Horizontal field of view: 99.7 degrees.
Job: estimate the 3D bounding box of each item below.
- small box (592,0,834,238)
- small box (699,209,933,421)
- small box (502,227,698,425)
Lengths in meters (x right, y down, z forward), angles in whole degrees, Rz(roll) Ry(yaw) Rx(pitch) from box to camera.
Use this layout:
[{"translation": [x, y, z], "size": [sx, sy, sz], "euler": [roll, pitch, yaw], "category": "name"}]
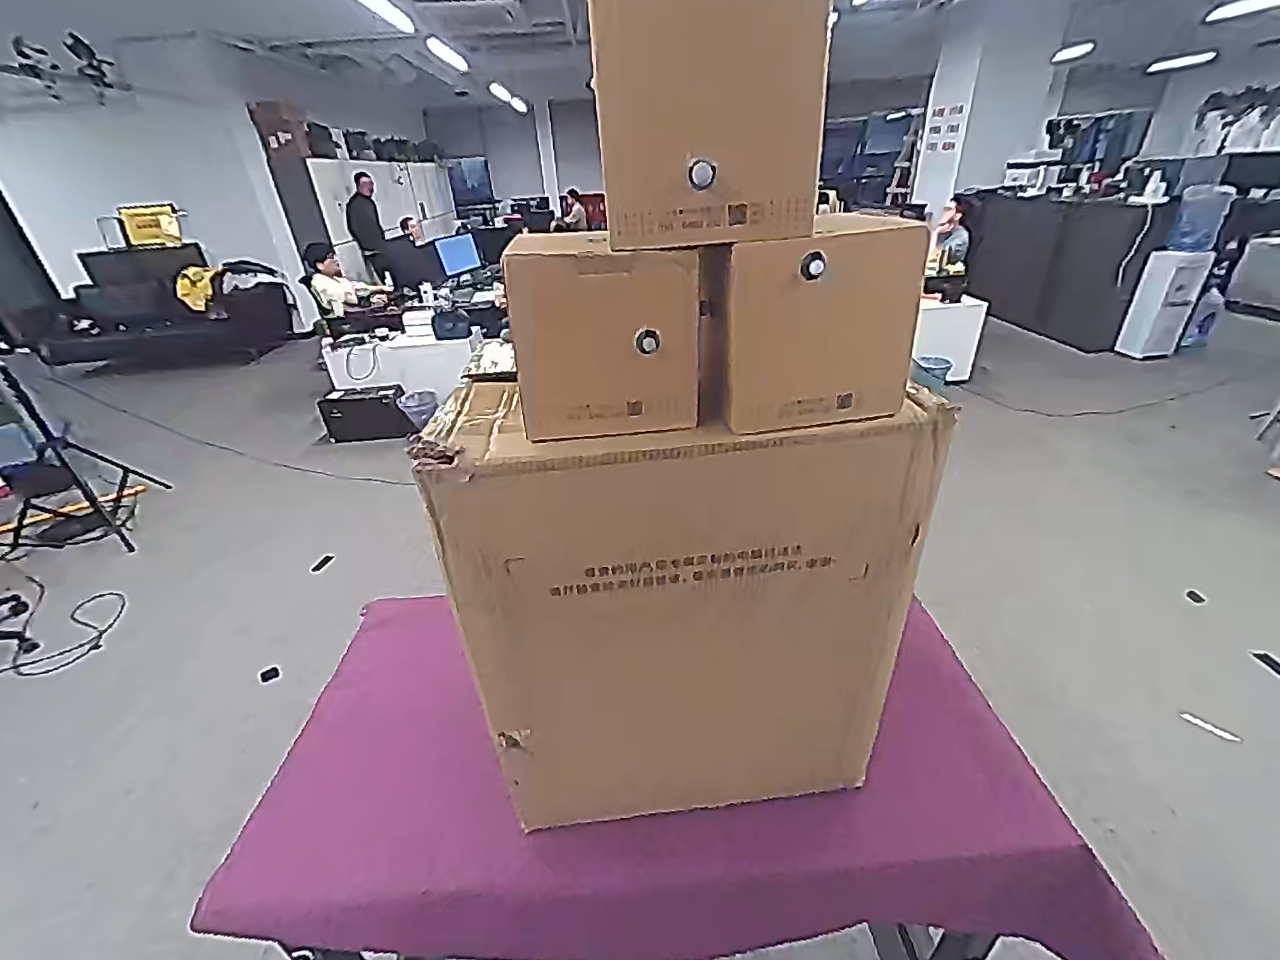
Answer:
[{"translation": [0.056, -0.308, 0.467], "size": [0.168, 0.176, 0.179], "euler": [-2, 30, 5], "category": "small box"}, {"translation": [0.154, -0.170, 0.541], "size": [0.168, 0.176, 0.179], "euler": [-7, 29, -3], "category": "small box"}, {"translation": [-0.038, -0.160, 0.551], "size": [0.168, 0.176, 0.179], "euler": [-4, 28, -6], "category": "small box"}]
